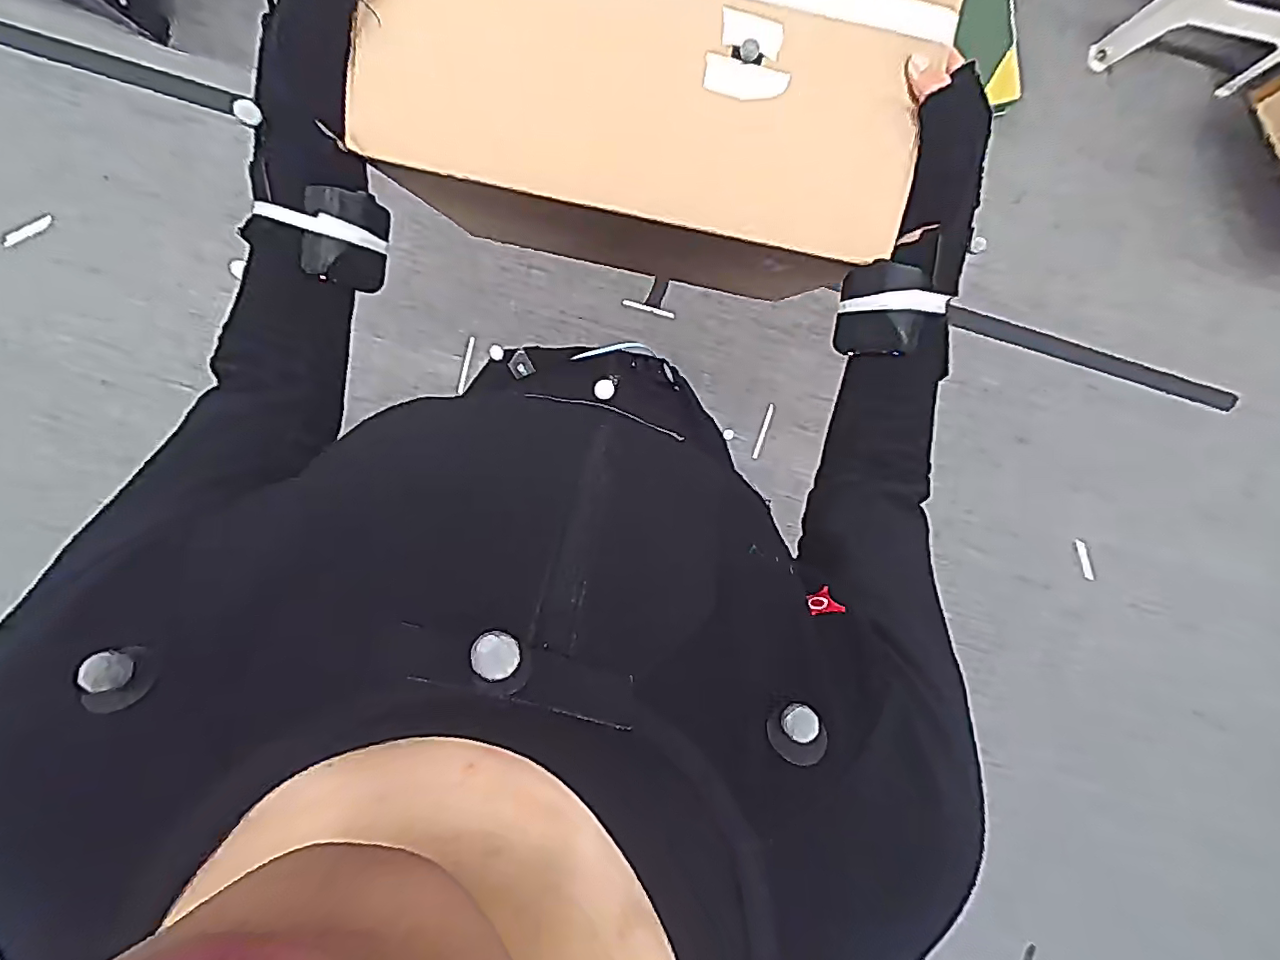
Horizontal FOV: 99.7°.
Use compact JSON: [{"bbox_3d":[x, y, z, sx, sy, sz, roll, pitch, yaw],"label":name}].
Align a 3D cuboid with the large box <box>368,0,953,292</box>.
[{"bbox_3d":[0.016,-0.387,0.517,0.408,0.320,0.320,11,104,-4],"label":"large box"}]
